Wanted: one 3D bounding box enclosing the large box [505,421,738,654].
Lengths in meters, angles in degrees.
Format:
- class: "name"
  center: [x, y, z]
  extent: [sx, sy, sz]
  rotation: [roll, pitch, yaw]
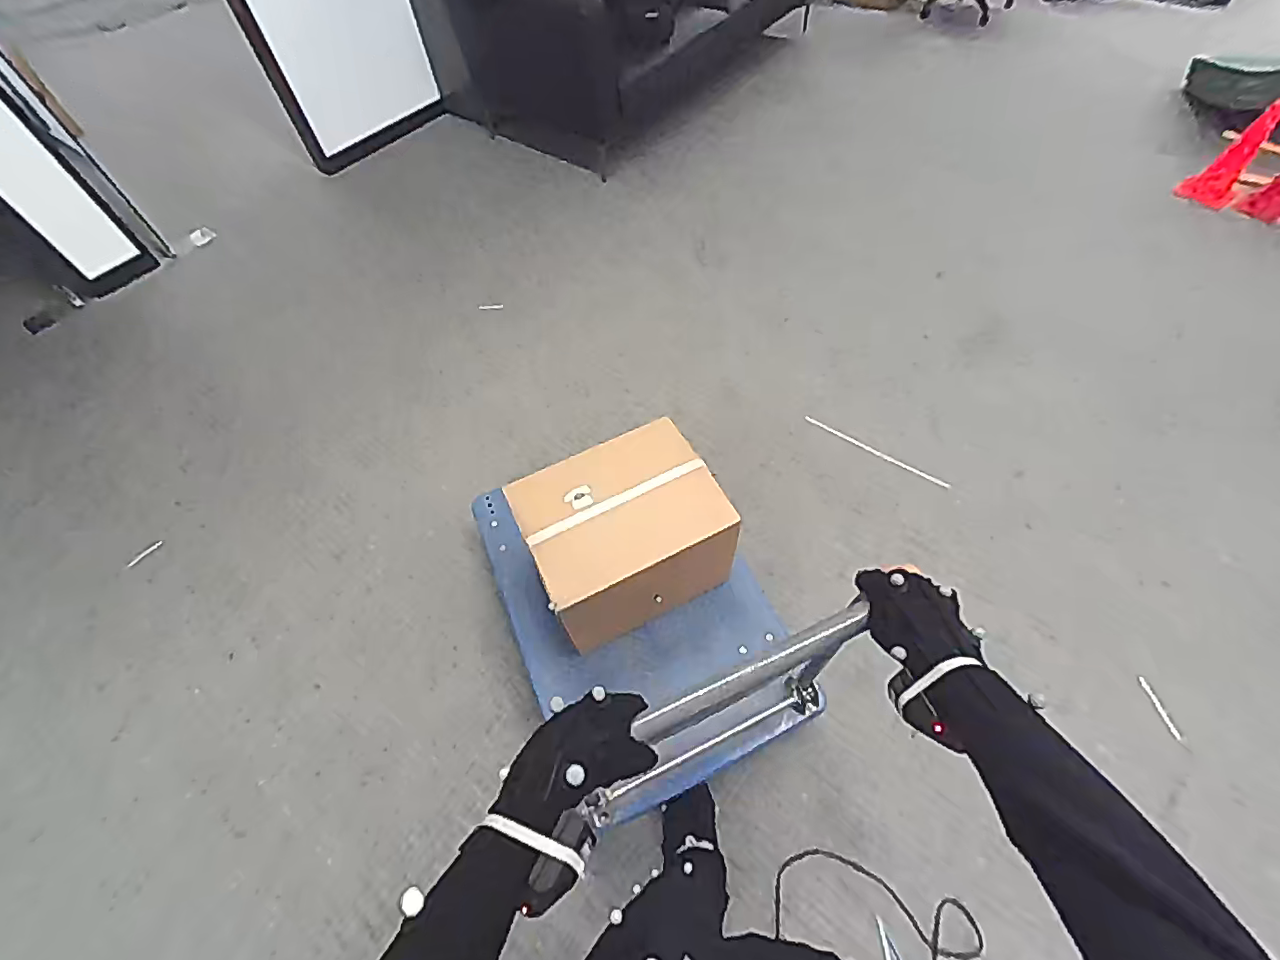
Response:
- class: "large box"
  center: [-0.036, 0.136, 1.241]
  extent: [0.408, 0.320, 0.320]
  rotation: [-26, 59, -12]
